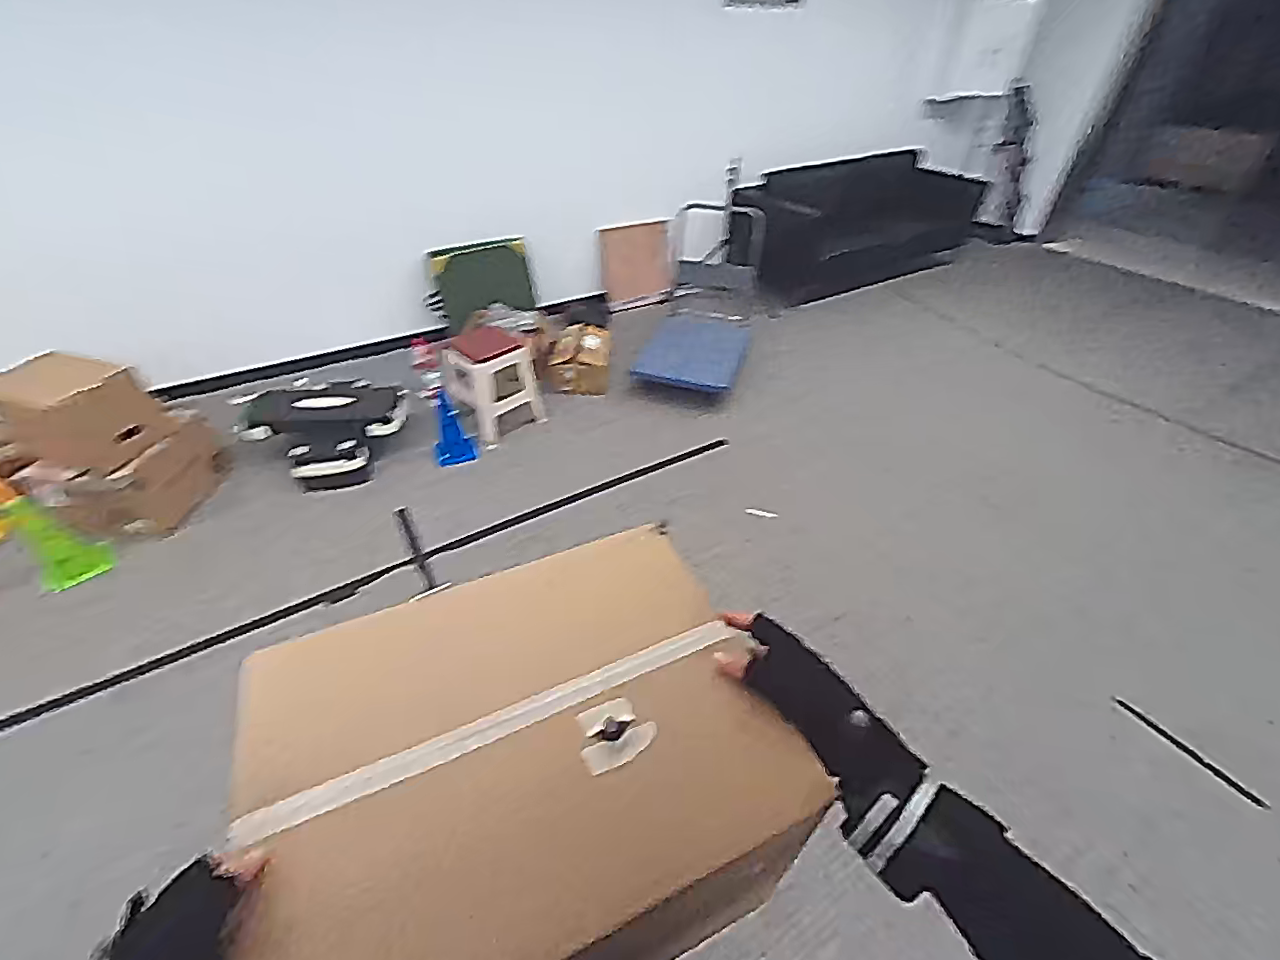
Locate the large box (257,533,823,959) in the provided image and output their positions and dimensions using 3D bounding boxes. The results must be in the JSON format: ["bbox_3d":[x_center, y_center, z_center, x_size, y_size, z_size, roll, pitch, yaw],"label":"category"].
[{"bbox_3d":[-0.098,0.317,0.553,0.408,0.320,0.320,-16,44,-20],"label":"large box"}]
